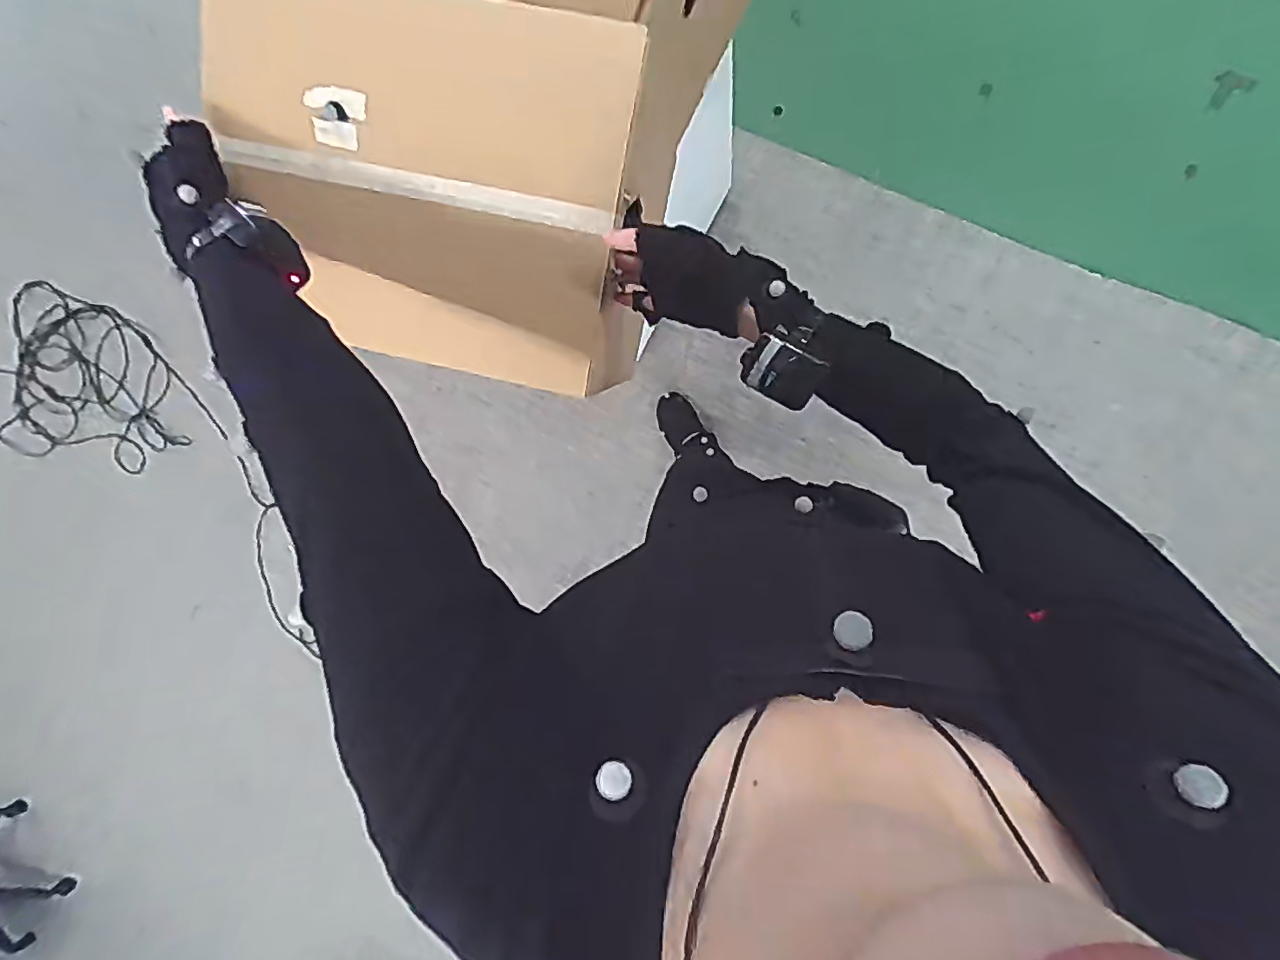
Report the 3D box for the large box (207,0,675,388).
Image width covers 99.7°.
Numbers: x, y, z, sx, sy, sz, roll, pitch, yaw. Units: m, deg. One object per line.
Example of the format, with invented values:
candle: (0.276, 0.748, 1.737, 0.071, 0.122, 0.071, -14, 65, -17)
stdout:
large box: (-0.192, -0.313, 0.641, 0.408, 0.320, 0.320, 13, 106, 5)
